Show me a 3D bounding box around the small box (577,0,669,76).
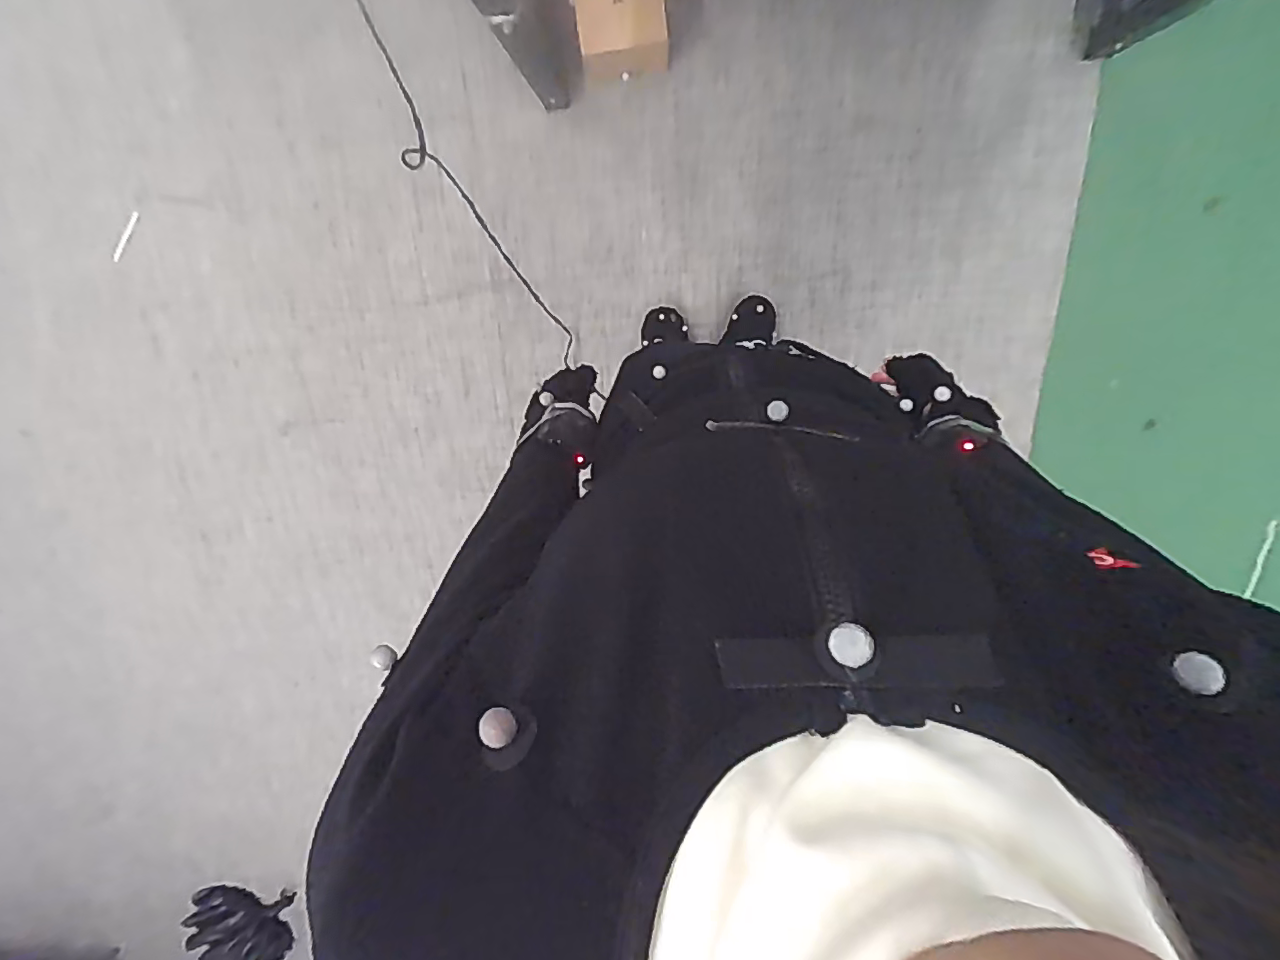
[{"bbox_3d":[-0.035,-0.926,1.050,0.168,0.176,0.179,-6,110,5],"label":"small box"}]
